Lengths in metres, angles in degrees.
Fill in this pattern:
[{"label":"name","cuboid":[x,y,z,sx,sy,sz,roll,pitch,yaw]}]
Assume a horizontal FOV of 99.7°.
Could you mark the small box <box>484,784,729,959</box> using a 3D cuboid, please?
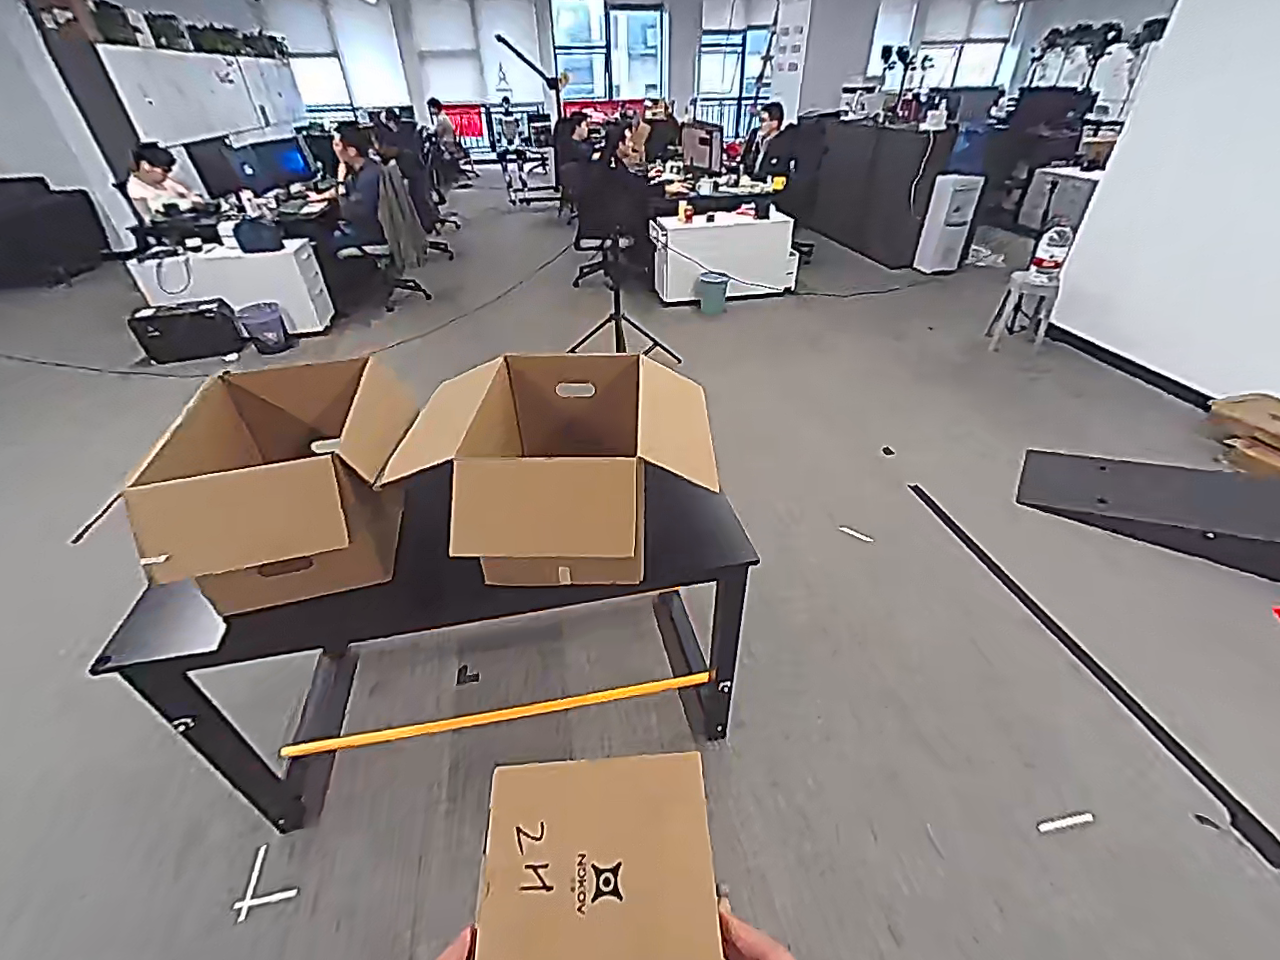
[{"label":"small box","cuboid":[-0.021,0.370,0.459,0.179,0.176,0.168,-5,49,2]}]
